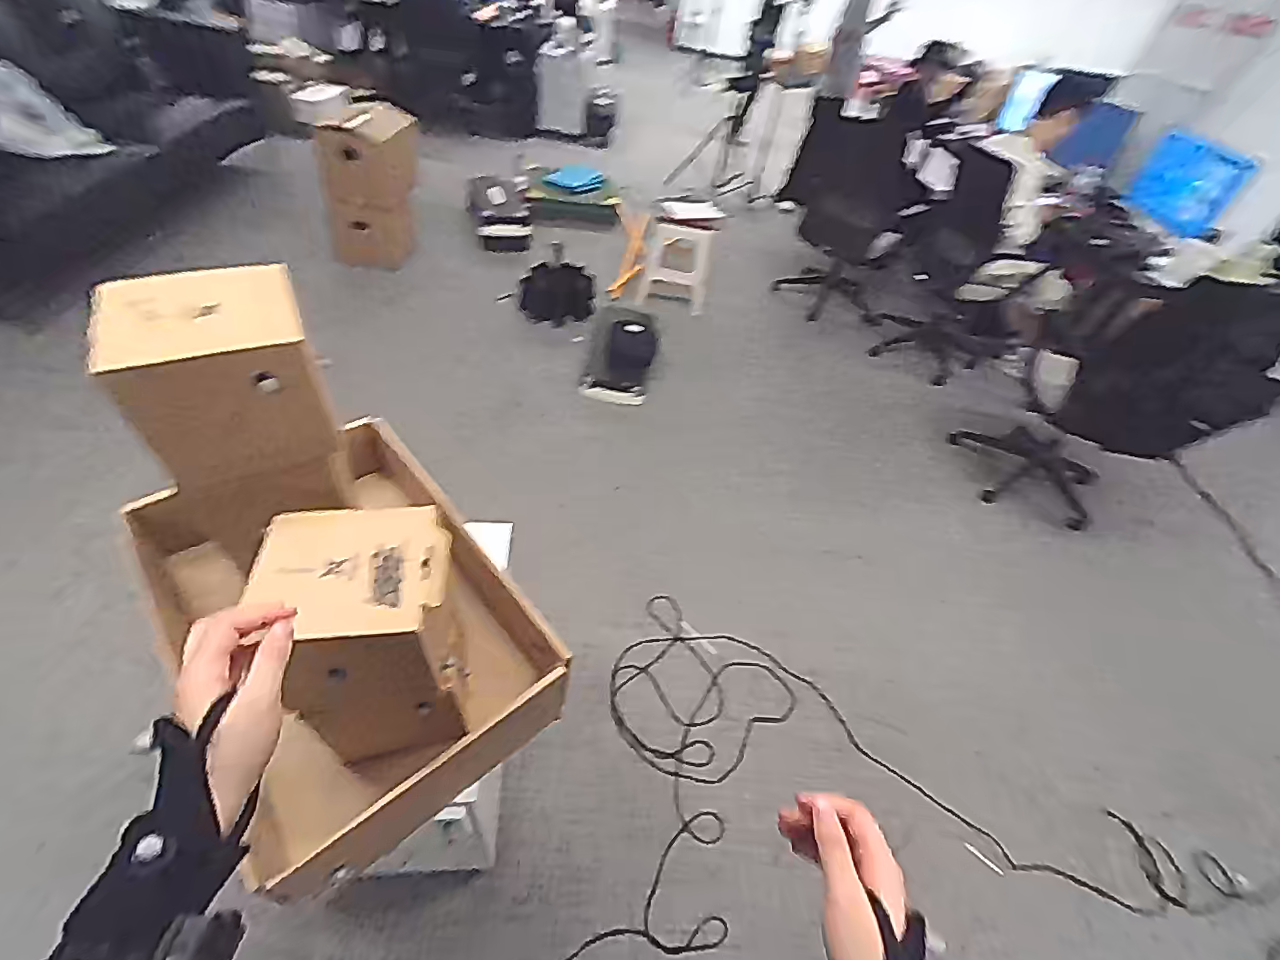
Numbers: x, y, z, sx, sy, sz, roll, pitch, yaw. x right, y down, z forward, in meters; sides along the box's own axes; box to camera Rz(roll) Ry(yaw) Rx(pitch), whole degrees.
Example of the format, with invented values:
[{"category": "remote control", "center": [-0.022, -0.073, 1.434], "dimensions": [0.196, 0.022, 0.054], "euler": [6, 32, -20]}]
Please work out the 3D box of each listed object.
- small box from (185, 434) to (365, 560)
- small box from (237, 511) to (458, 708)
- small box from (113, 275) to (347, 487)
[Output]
[{"category": "small box", "center": [-0.507, -0.016, 0.773], "dimensions": [0.168, 0.176, 0.179], "euler": [-16, 54, -21]}, {"category": "small box", "center": [-0.322, 0.153, 0.644], "dimensions": [0.179, 0.176, 0.168], "euler": [-2, 46, -9]}, {"category": "small box", "center": [-0.471, -0.119, 0.648], "dimensions": [0.179, 0.176, 0.168], "euler": [-18, 53, -23]}]
